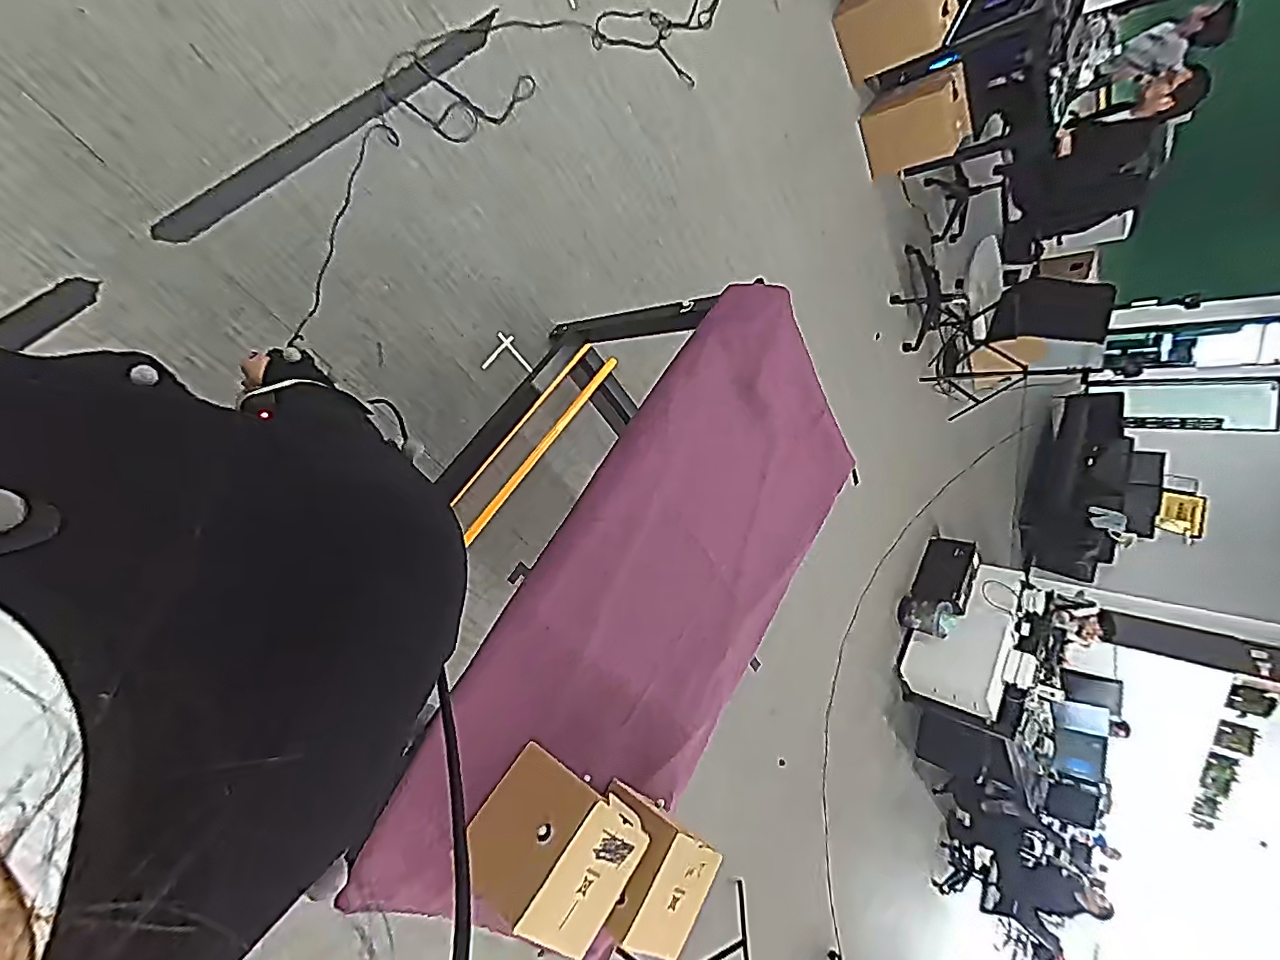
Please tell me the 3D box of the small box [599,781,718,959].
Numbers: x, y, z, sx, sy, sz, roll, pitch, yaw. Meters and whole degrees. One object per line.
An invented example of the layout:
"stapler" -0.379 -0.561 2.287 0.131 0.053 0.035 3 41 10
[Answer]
"small box" -0.002 0.666 0.932 0.179 0.176 0.168 -56 128 -23

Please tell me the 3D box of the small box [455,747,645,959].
"small box" -0.130 0.530 0.788 0.179 0.176 0.168 -51 128 -27
